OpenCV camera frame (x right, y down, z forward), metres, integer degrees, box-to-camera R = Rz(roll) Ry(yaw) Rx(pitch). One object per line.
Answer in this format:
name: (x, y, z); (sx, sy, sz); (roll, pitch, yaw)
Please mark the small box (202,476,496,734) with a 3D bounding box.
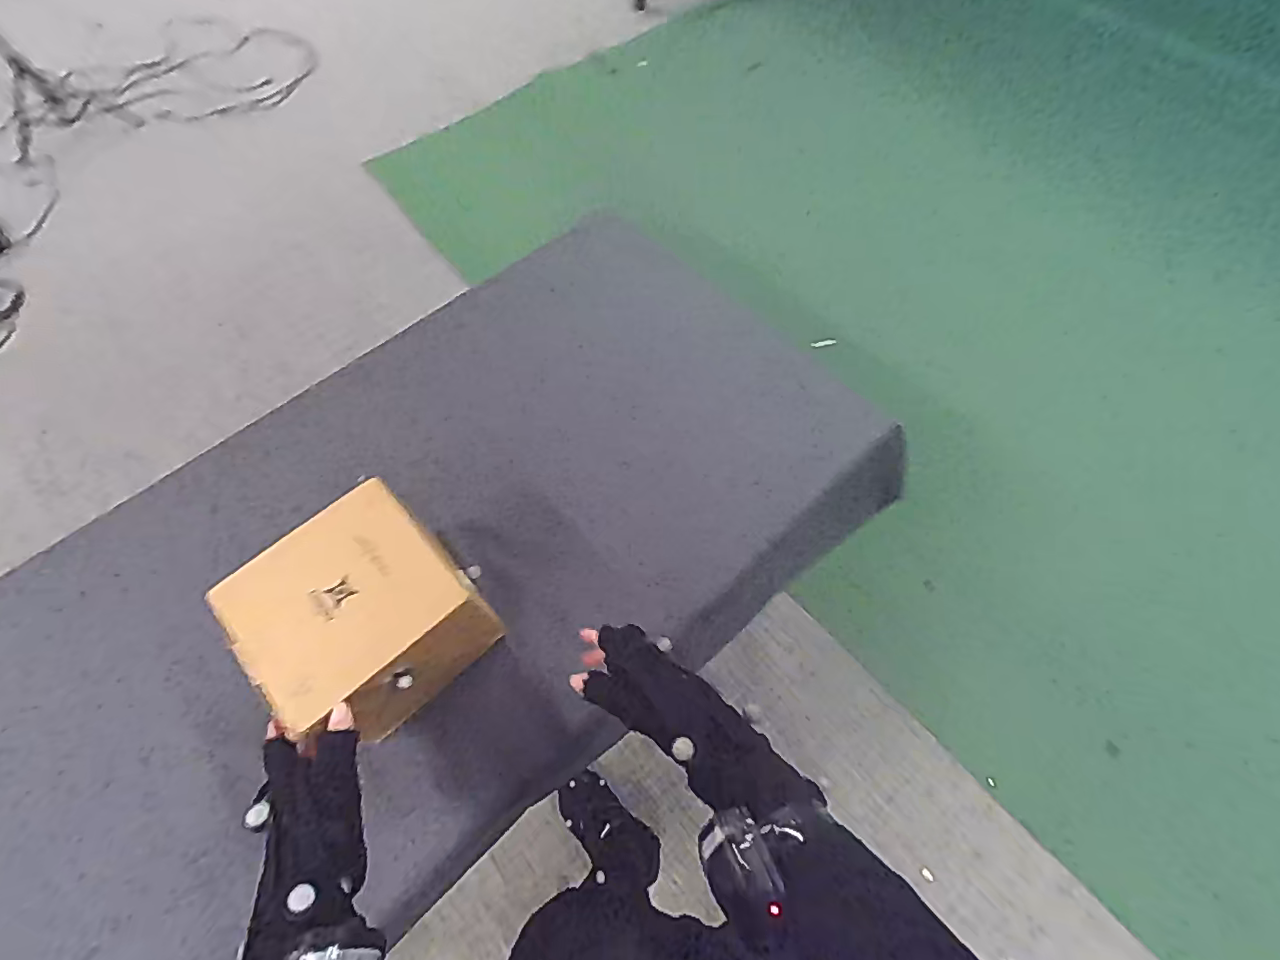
small box: (-0.276, 0.135, 0.554); (0.179, 0.176, 0.168); (-40, 72, -18)
